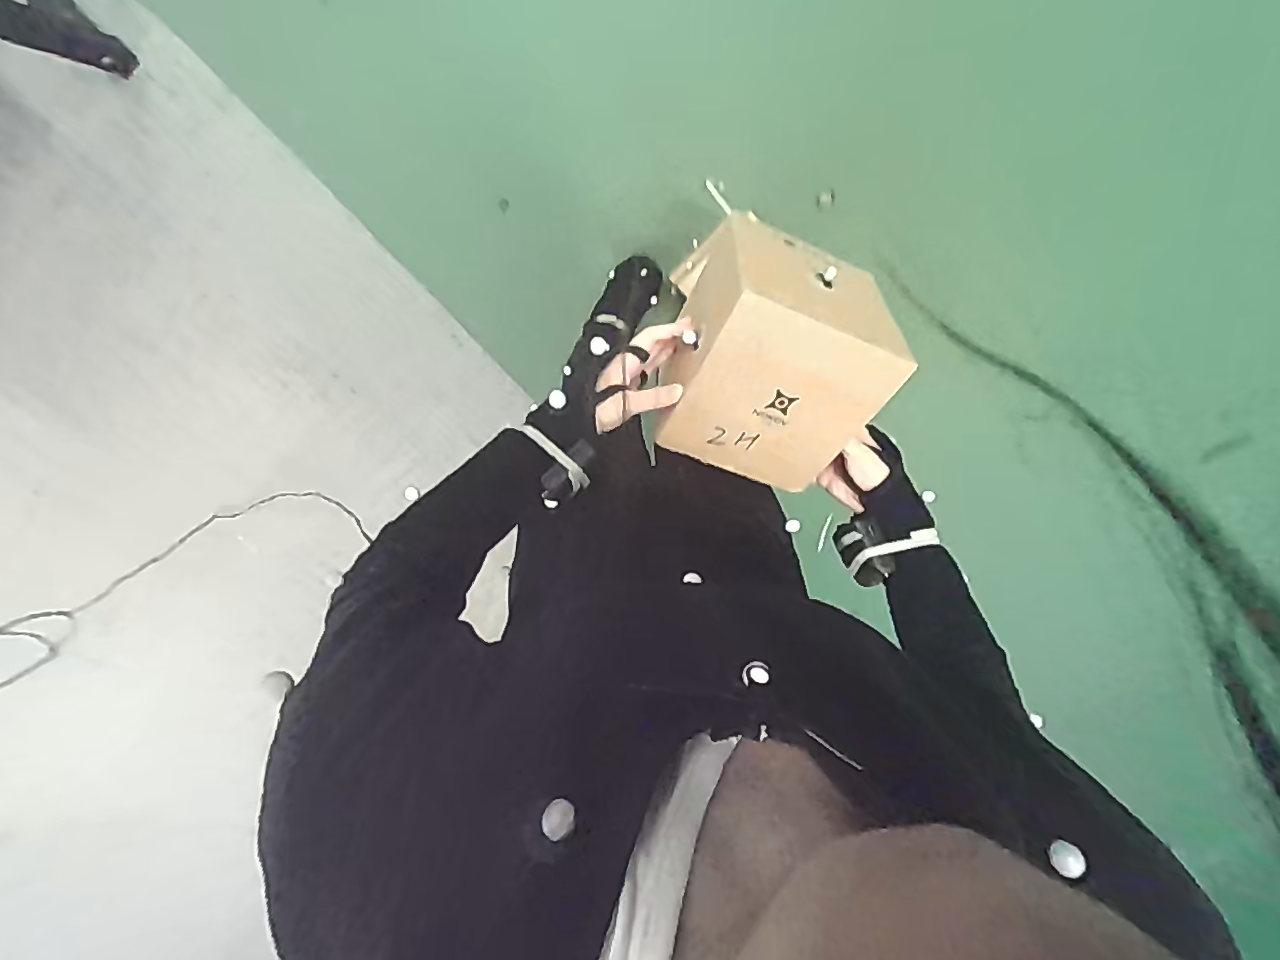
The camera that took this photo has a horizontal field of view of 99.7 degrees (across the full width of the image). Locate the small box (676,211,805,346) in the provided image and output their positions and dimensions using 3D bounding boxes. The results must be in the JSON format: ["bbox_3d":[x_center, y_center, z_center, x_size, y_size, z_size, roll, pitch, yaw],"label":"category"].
[{"bbox_3d":[0.182,-0.392,1.047,0.179,0.176,0.168,-42,108,18],"label":"small box"}]
